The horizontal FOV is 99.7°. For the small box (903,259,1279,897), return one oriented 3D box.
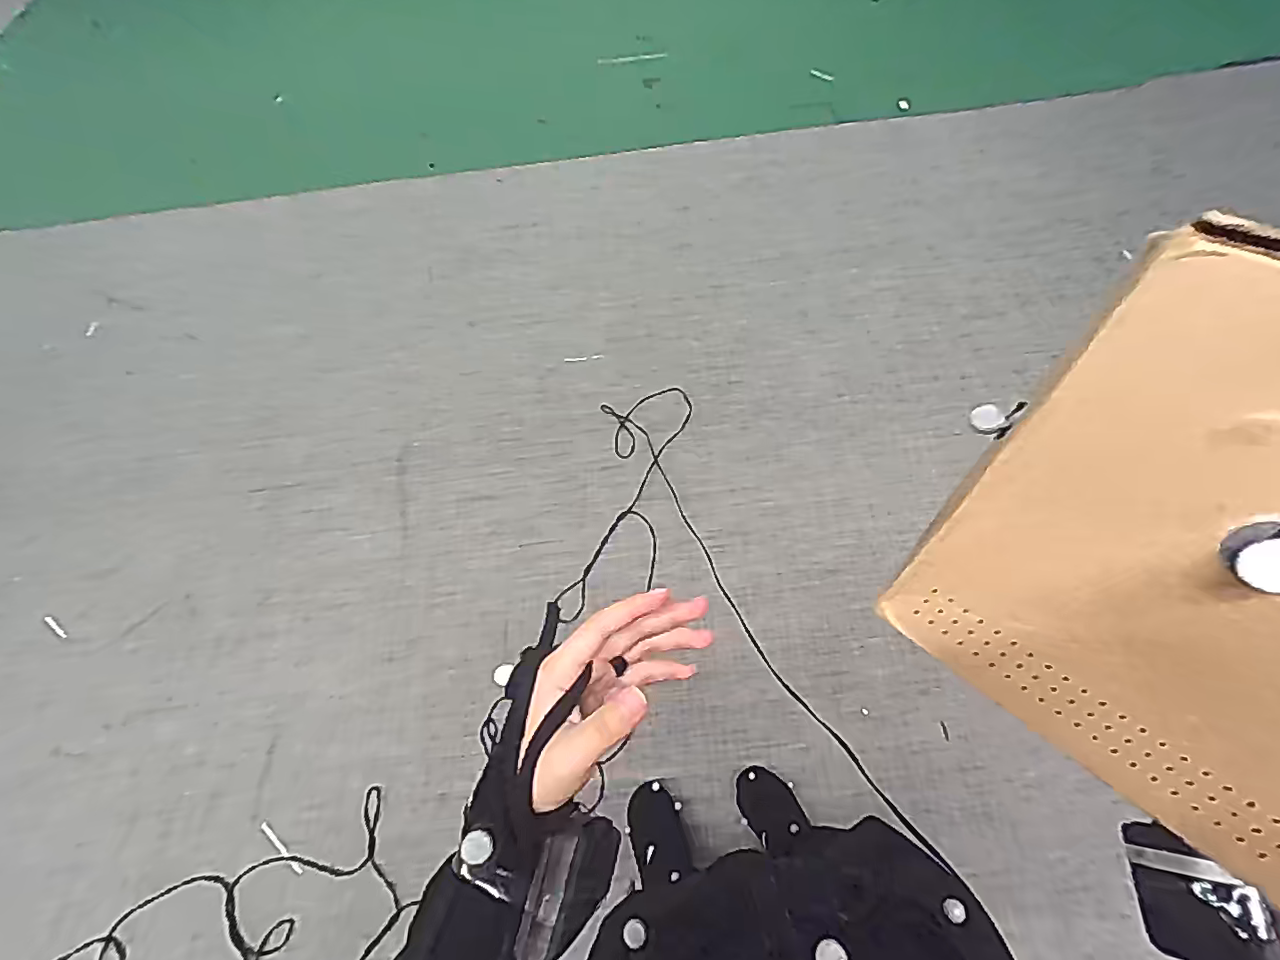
[{"bbox_3d":[0.244,0.025,0.222,0.179,0.176,0.168,36,38,24],"label":"small box"}]
